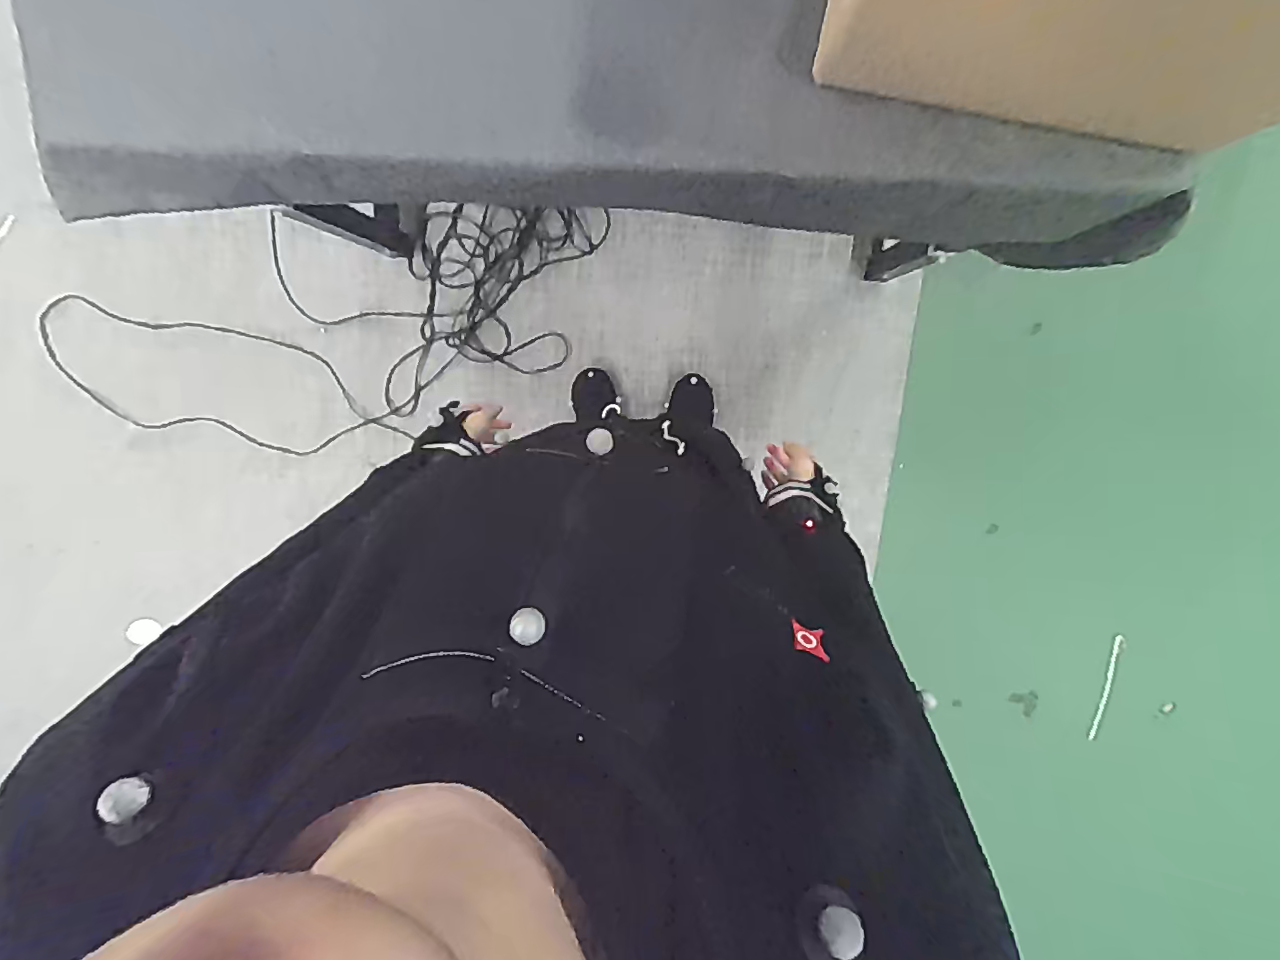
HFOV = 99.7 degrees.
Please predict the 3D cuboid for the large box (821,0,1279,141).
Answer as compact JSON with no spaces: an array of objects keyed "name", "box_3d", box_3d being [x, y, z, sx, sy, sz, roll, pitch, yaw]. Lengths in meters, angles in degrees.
[{"name":"large box","box_3d":[0.390,-0.485,0.366,0.408,0.320,0.320,10,102,-1]}]
